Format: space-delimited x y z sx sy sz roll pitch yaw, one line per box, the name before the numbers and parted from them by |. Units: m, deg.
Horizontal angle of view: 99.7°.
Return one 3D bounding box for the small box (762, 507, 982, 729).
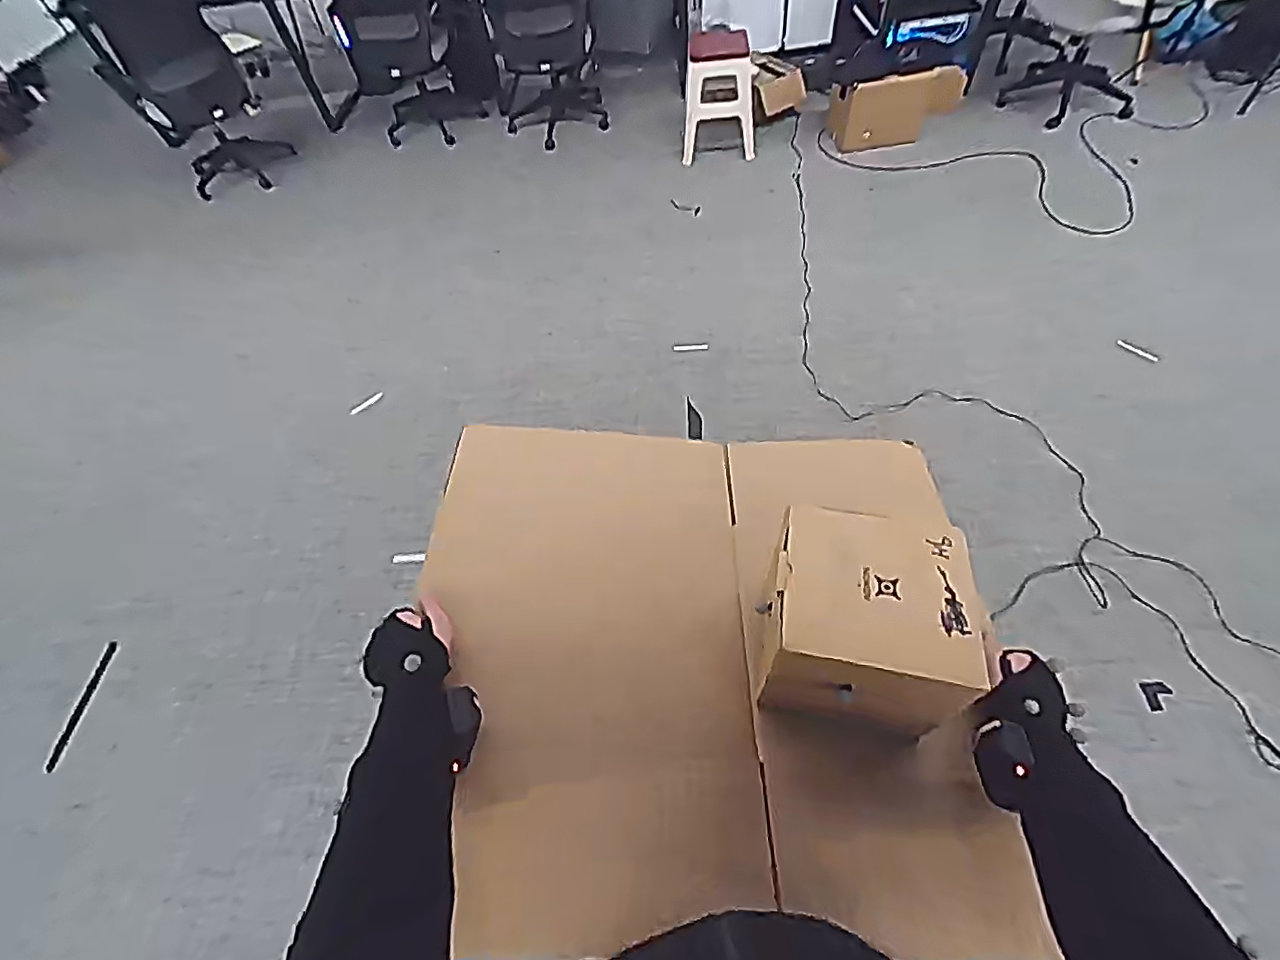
small box | 0.231 0.152 0.585 0.179 0.176 0.168 8 53 11
